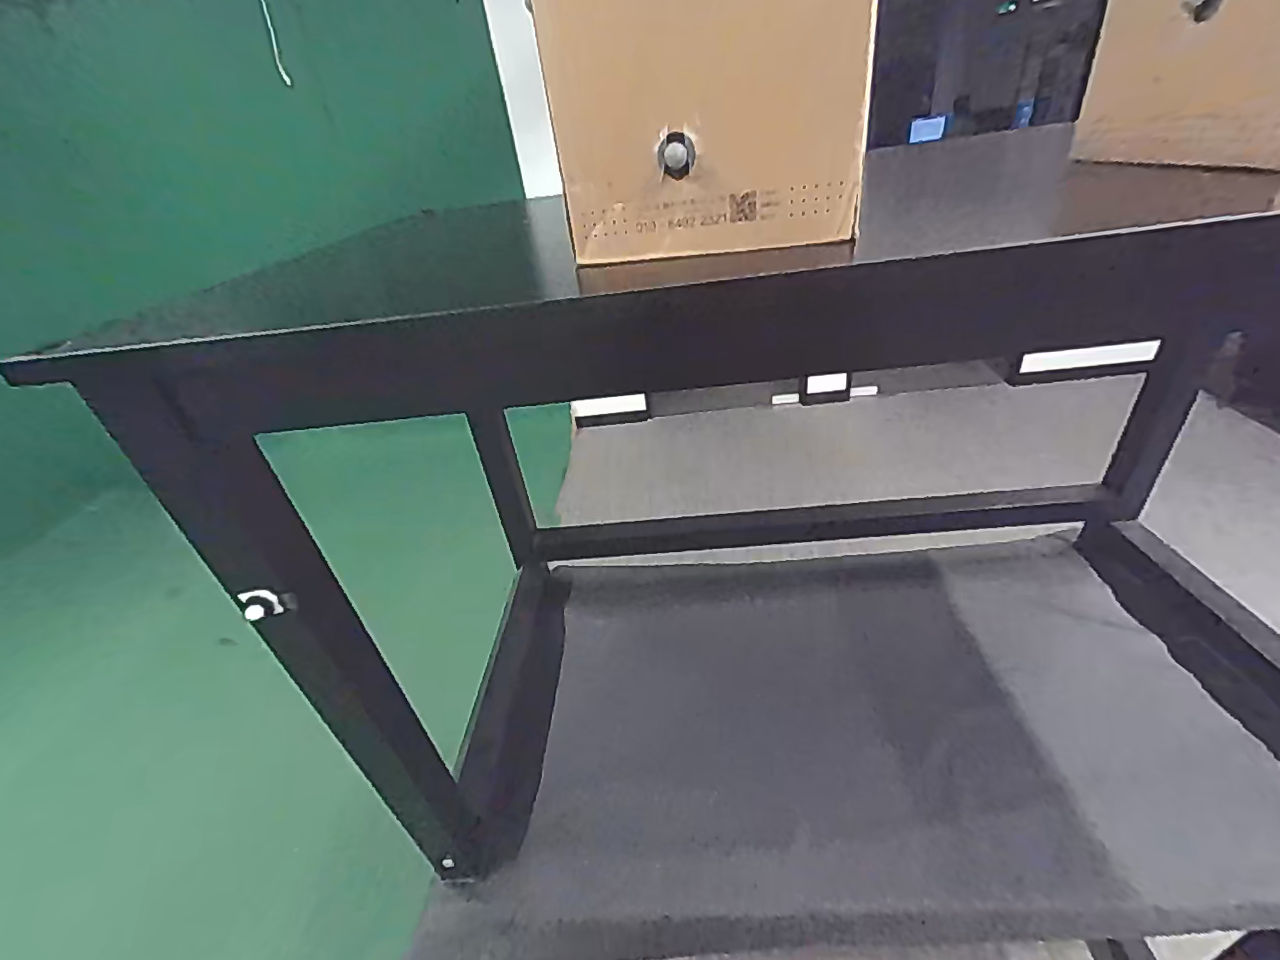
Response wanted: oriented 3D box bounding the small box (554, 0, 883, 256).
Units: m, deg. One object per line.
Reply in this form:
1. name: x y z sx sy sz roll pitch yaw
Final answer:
1. small box: 0.051 -0.250 0.347 0.168 0.176 0.179 0 34 12
